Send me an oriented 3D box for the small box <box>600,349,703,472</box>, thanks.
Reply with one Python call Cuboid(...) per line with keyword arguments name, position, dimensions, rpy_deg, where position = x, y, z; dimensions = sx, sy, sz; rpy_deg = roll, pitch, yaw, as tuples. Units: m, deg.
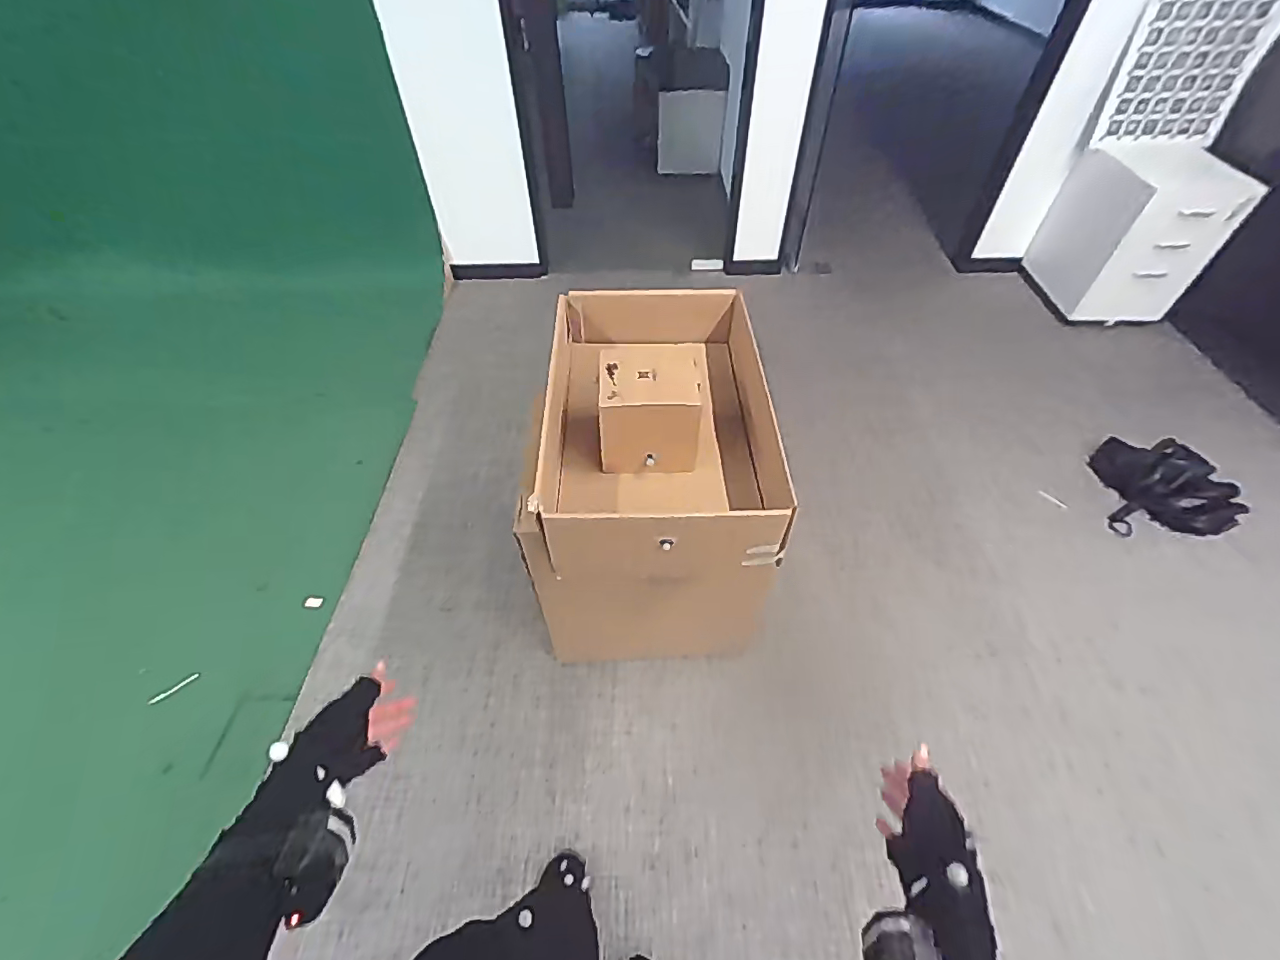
Cuboid(name="small box", position=(0.015, -0.127, 1.014), dimensions=(0.179, 0.176, 0.168), rpy_deg=(-1, 48, -2))
